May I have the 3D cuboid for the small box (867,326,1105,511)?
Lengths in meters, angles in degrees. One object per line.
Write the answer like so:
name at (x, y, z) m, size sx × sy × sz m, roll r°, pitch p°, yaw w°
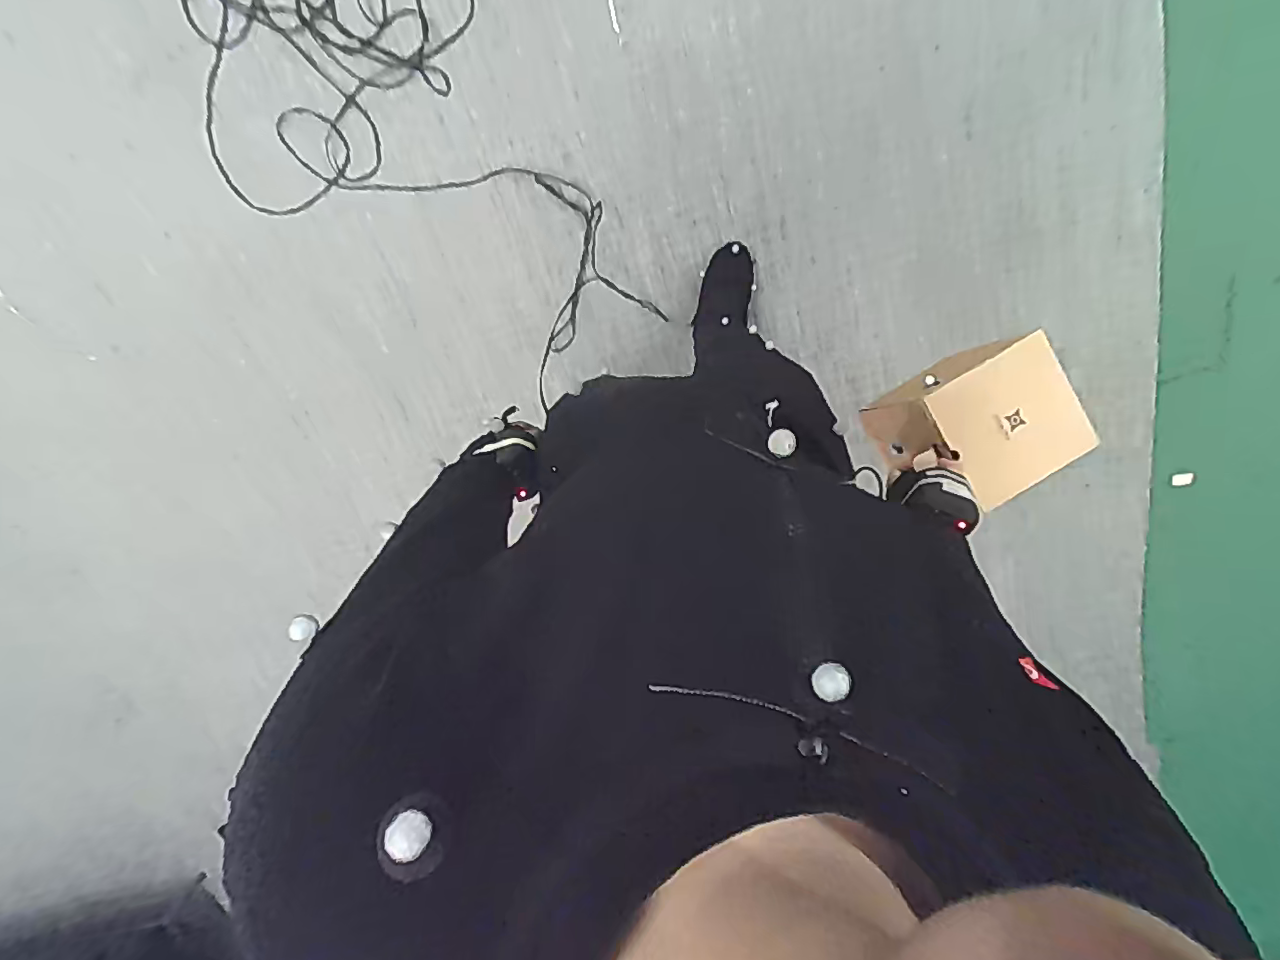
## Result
small box at (0.448, -0.079, 0.729) m, size 0.179 × 0.176 × 0.168 m, roll -32°, pitch 94°, yaw -1°
